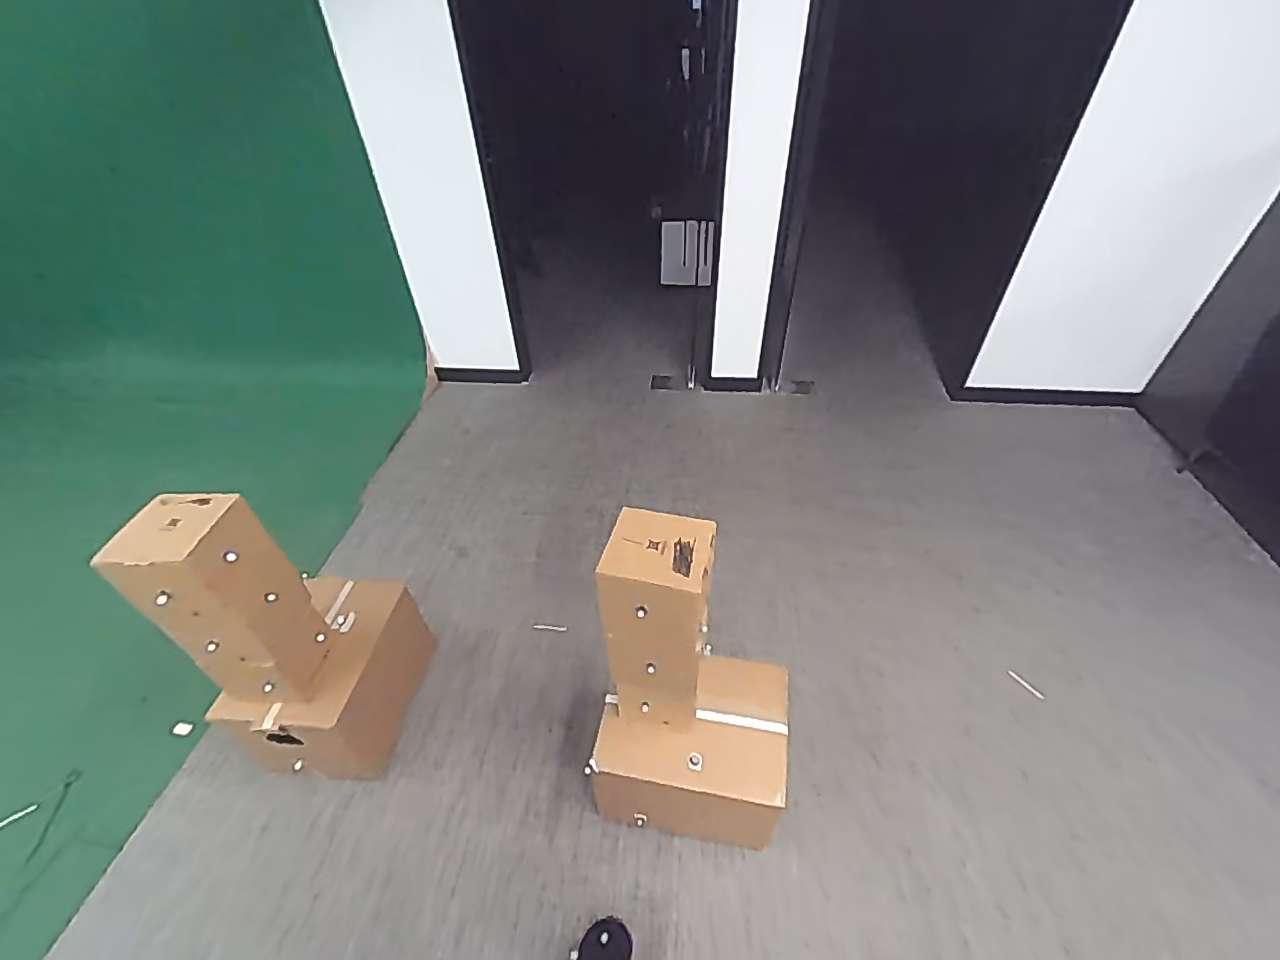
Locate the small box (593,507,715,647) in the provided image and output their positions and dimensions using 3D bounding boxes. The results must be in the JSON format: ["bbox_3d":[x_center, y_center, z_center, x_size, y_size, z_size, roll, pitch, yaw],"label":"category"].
[{"bbox_3d":[0.031,0.176,0.971,0.179,0.176,0.168,9,41,13],"label":"small box"}]

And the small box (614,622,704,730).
[{"bbox_3d":[0.046,0.421,1.190,0.168,0.176,0.179,7,41,9],"label":"small box"}]

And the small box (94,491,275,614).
[{"bbox_3d":[-0.847,0.139,1.033,0.168,0.176,0.179,1,42,2],"label":"small box"}]

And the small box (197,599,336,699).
[{"bbox_3d":[-0.844,0.388,1.247,0.179,0.176,0.168,1,42,4],"label":"small box"}]

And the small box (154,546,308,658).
[{"bbox_3d":[-0.845,0.261,1.143,0.168,0.176,0.179,-1,41,0],"label":"small box"}]

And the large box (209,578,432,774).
[{"bbox_3d":[-0.816,0.523,1.460,0.320,0.320,0.408,3,41,4],"label":"large box"}]
